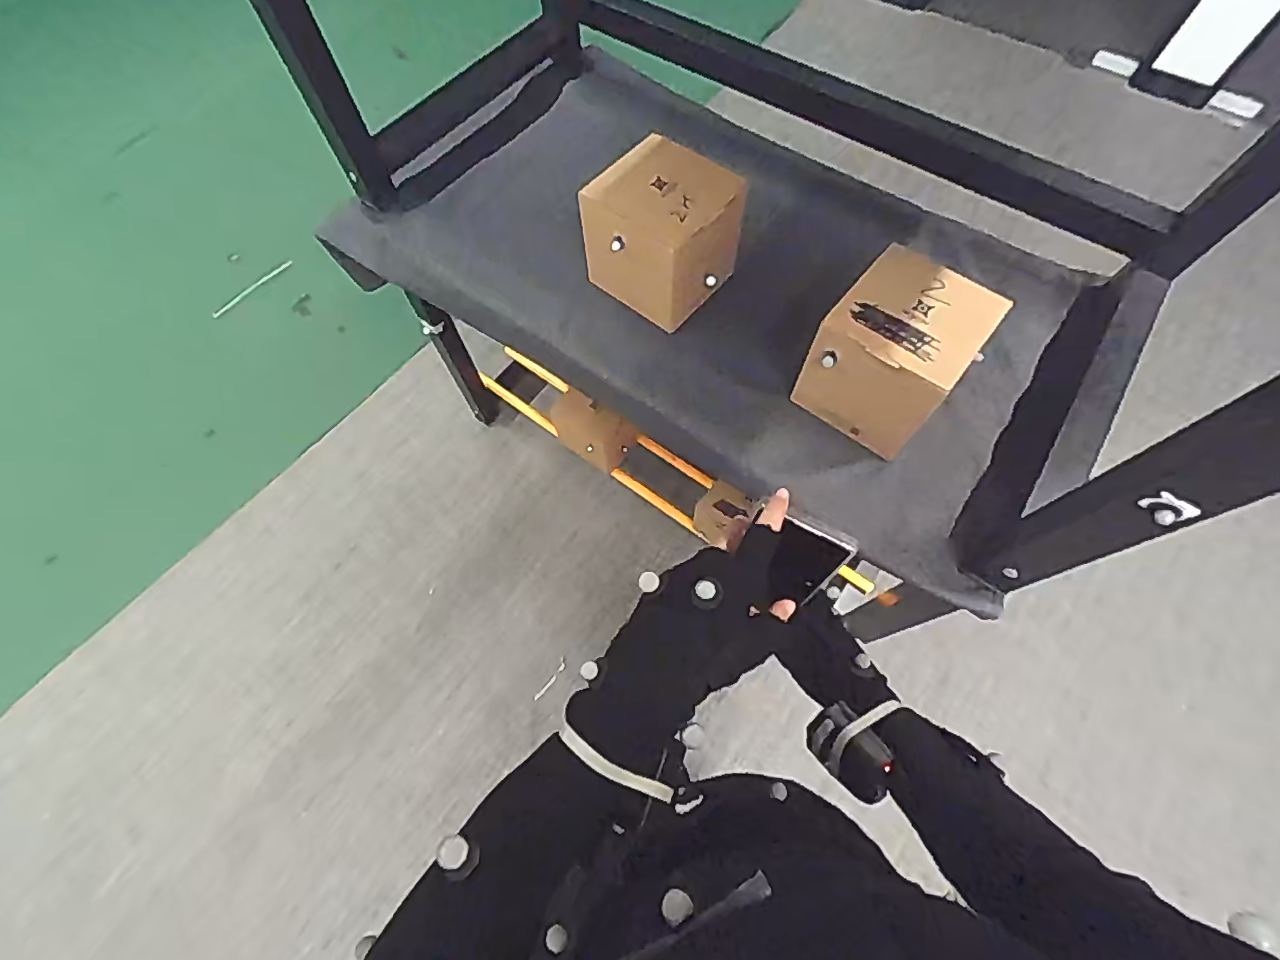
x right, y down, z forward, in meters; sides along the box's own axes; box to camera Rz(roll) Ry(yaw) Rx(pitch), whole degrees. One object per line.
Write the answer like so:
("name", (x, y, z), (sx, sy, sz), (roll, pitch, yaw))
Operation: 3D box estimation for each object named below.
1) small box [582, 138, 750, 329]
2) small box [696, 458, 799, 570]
("small box", (0.036, -0.364, 0.815), (0.179, 0.176, 0.168), (38, 71, 16))
("small box", (0.247, 0.088, 1.289), (0.168, 0.176, 0.179), (38, 72, 16))
